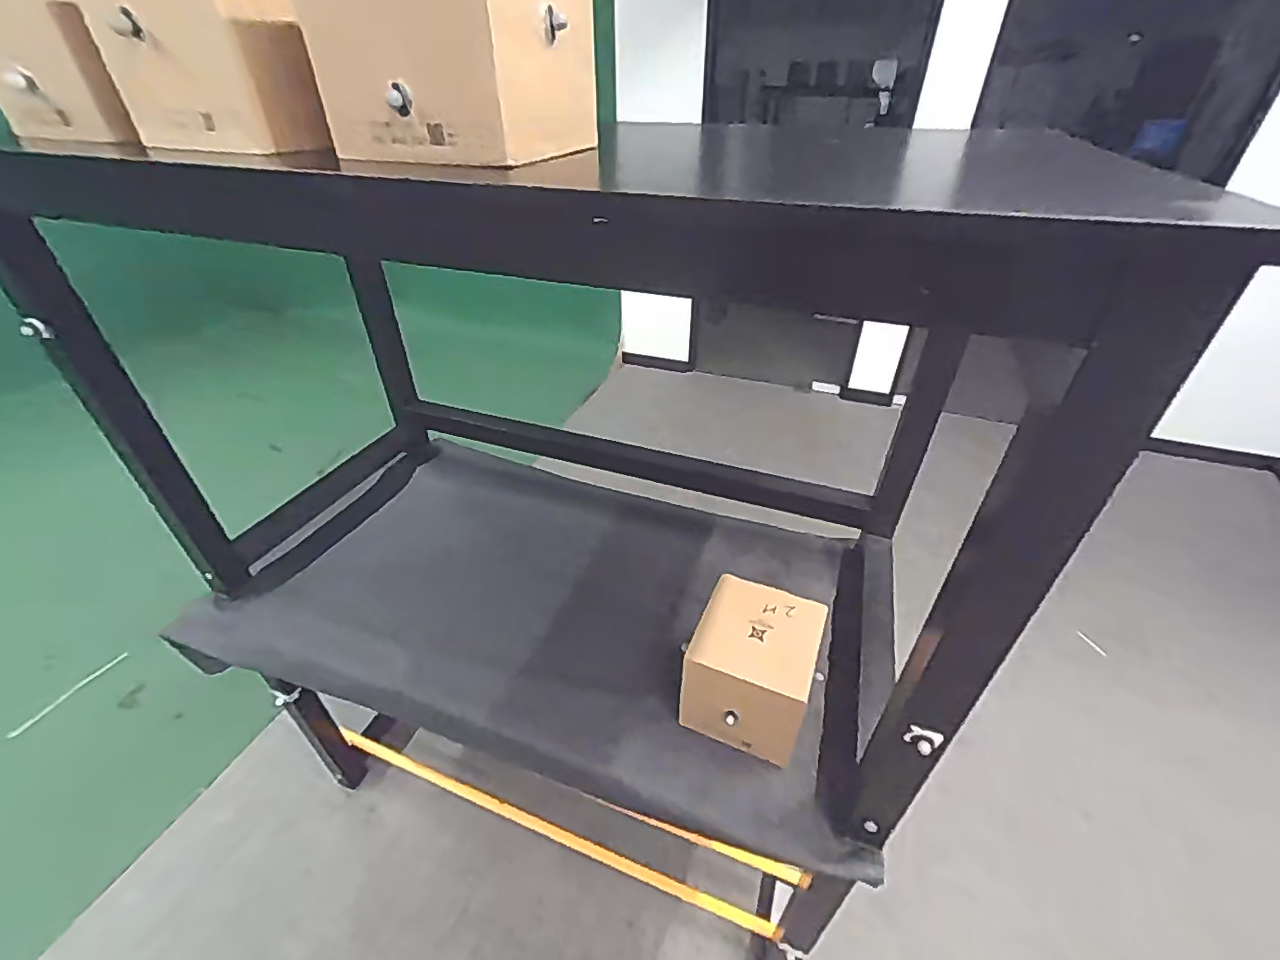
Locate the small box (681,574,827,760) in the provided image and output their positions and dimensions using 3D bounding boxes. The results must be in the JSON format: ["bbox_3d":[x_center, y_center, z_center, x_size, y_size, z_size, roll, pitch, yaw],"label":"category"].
[{"bbox_3d":[0.167,0.278,0.810,0.168,0.176,0.179,16,38,20],"label":"small box"}]

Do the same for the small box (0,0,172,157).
[{"bbox_3d":[-0.574,-0.467,0.596,0.168,0.176,0.179,14,39,17],"label":"small box"}]

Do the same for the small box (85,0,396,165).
[{"bbox_3d":[-0.370,-0.409,0.520,0.168,0.176,0.179,13,38,18],"label":"small box"}]
